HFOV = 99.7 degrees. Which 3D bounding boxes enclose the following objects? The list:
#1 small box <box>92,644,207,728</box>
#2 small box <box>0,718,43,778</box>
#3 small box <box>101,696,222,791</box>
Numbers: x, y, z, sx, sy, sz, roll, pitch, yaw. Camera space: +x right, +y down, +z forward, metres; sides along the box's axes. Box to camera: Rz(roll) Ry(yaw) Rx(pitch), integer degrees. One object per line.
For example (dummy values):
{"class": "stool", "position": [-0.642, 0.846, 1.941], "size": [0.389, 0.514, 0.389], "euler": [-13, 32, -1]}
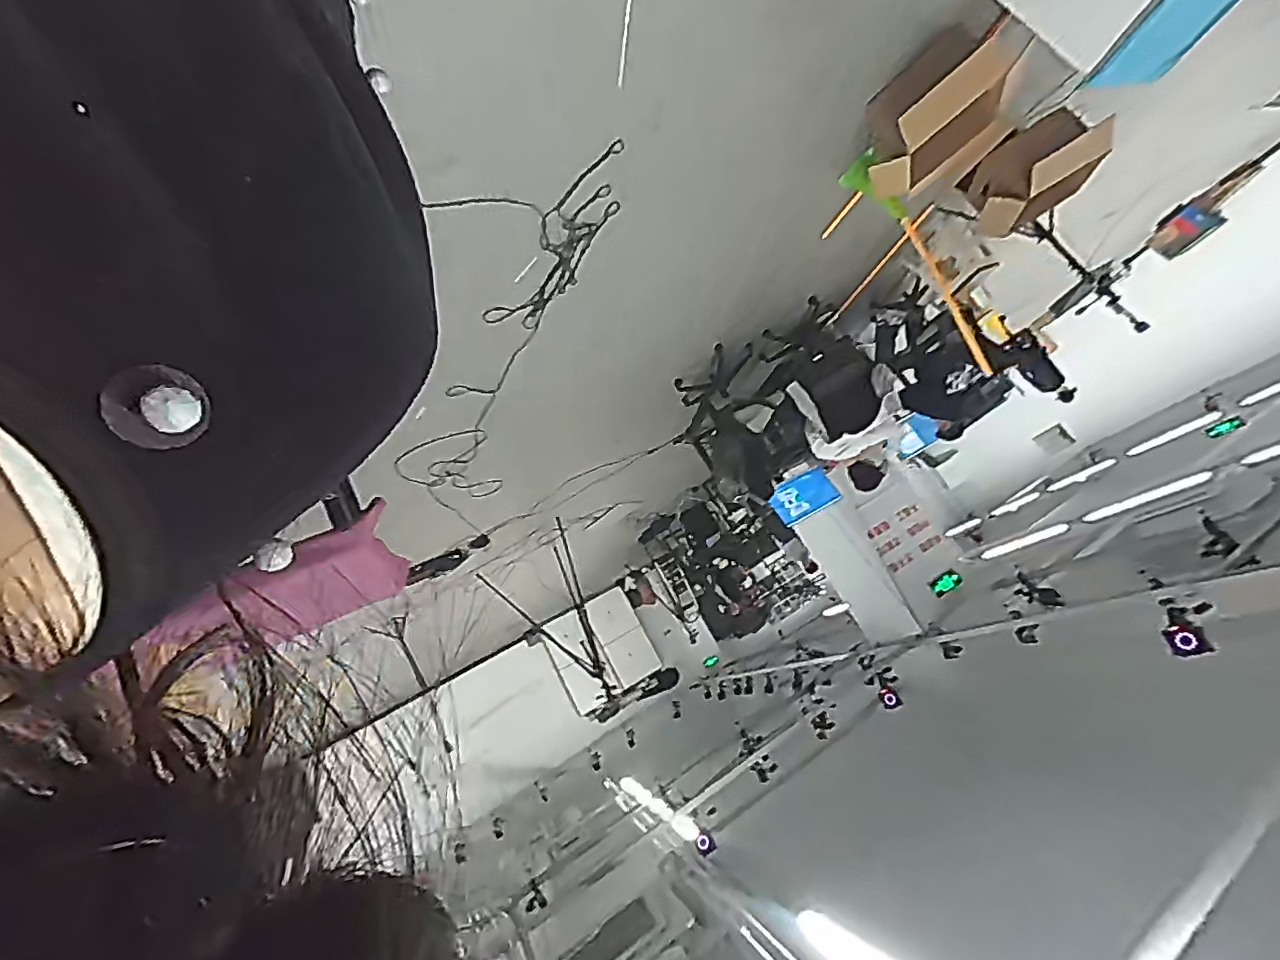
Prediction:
{"class": "small box", "position": [-1.401, 0.586, 1.545], "size": [0.168, 0.176, 0.179], "euler": [-26, 164, -18]}
{"class": "small box", "position": [-1.719, 0.732, 1.392], "size": [0.168, 0.176, 0.179], "euler": [-26, 164, -22]}
{"class": "small box", "position": [-1.308, 0.711, 1.484], "size": [0.168, 0.176, 0.179], "euler": [-29, 165, -12]}
